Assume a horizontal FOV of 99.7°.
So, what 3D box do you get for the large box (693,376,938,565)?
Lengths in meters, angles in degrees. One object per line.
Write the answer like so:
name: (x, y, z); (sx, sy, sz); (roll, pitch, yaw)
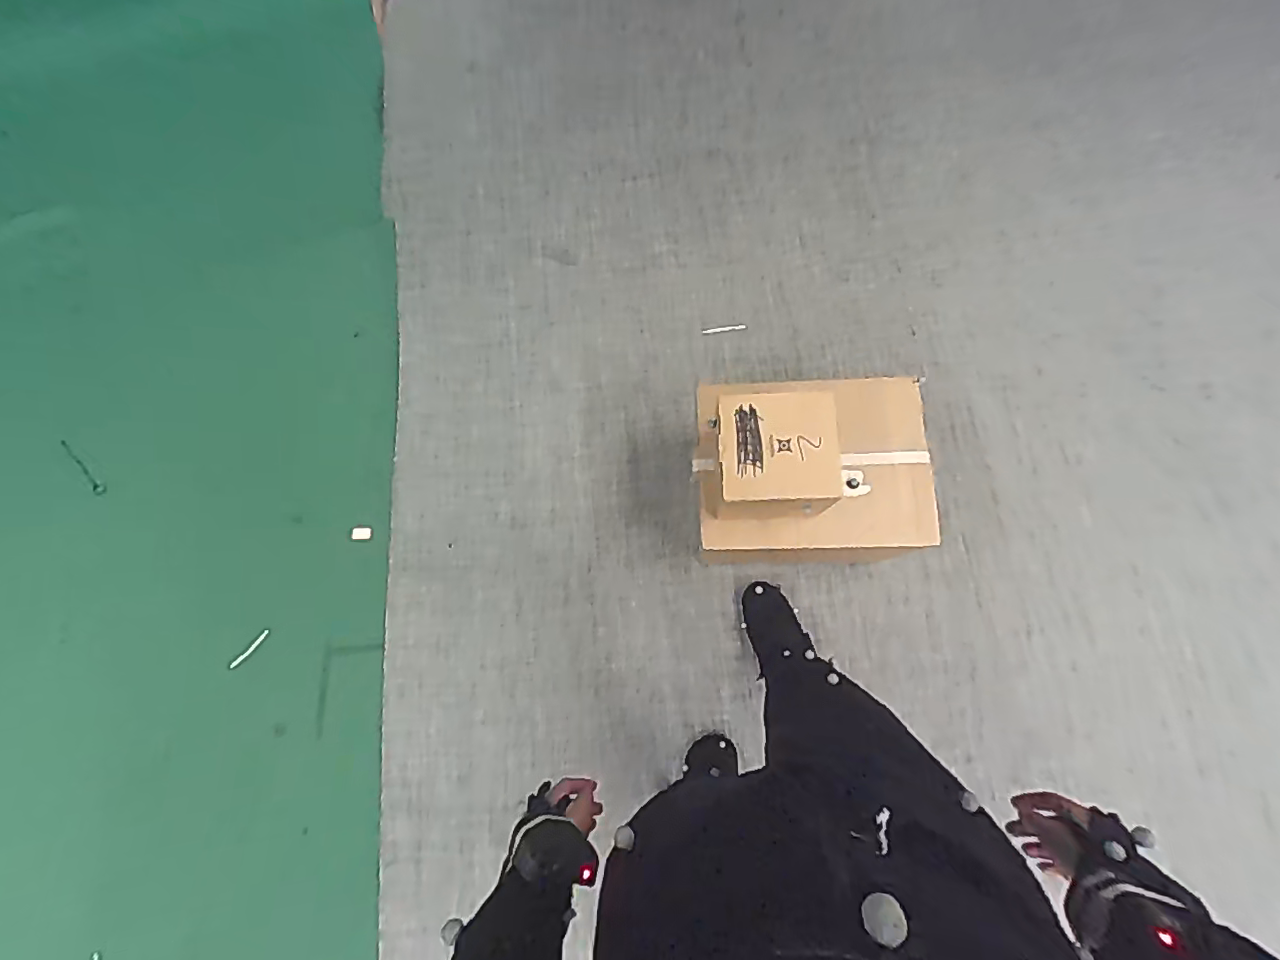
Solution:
large box: (0.318, 0.002, 1.110); (0.408, 0.320, 0.320); (-2, 77, 4)
